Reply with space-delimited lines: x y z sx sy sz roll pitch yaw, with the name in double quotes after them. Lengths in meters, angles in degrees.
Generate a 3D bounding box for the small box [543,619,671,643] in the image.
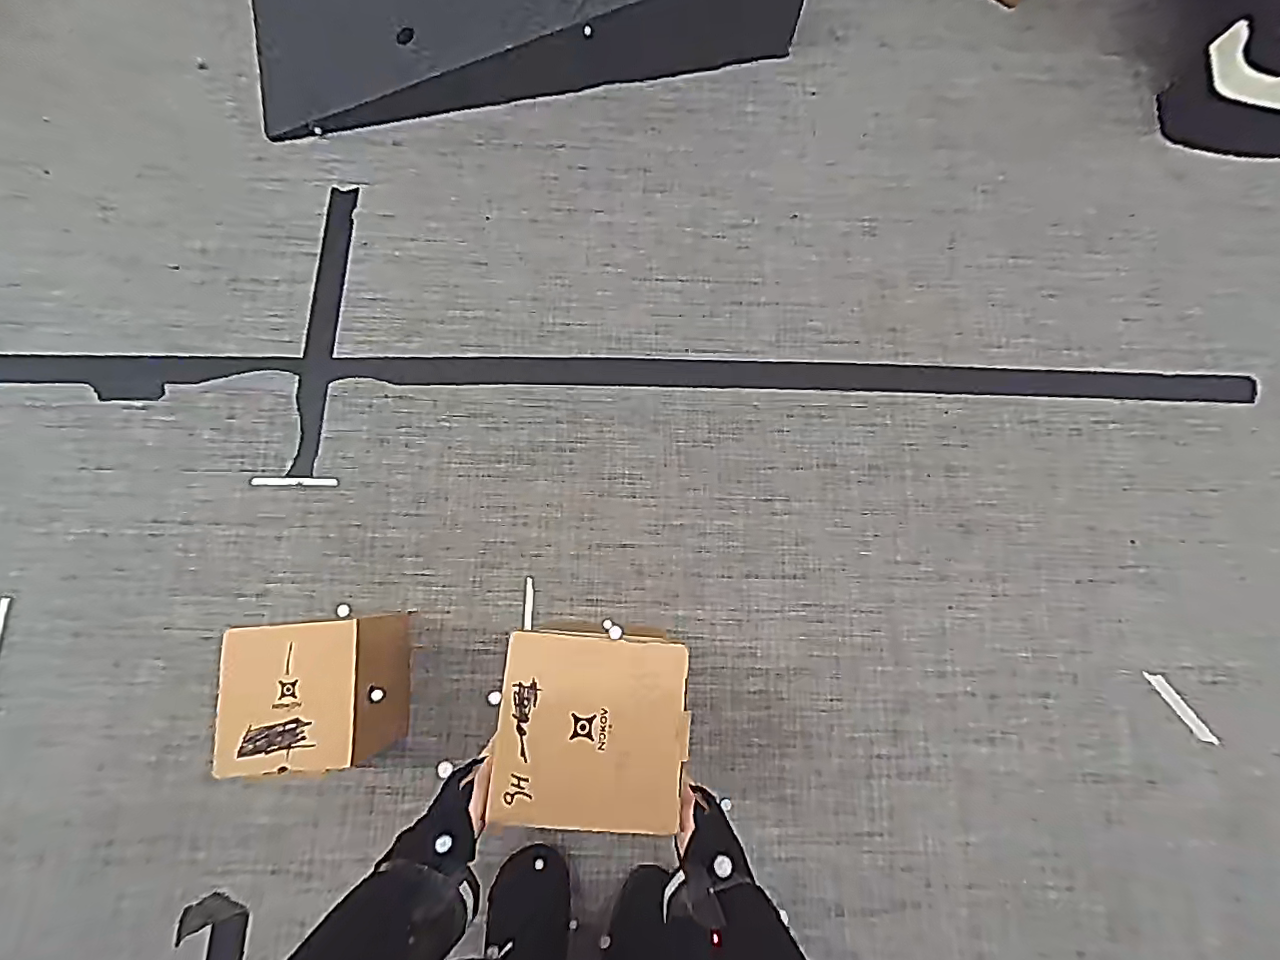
-0.055 0.284 0.740 0.179 0.176 0.168 5 79 0 "small box"

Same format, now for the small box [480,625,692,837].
-0.052 0.248 0.565 0.179 0.176 0.168 7 71 -4 "small box"

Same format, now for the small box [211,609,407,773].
-0.430 0.272 0.733 0.168 0.176 0.179 -3 79 -2 "small box"
